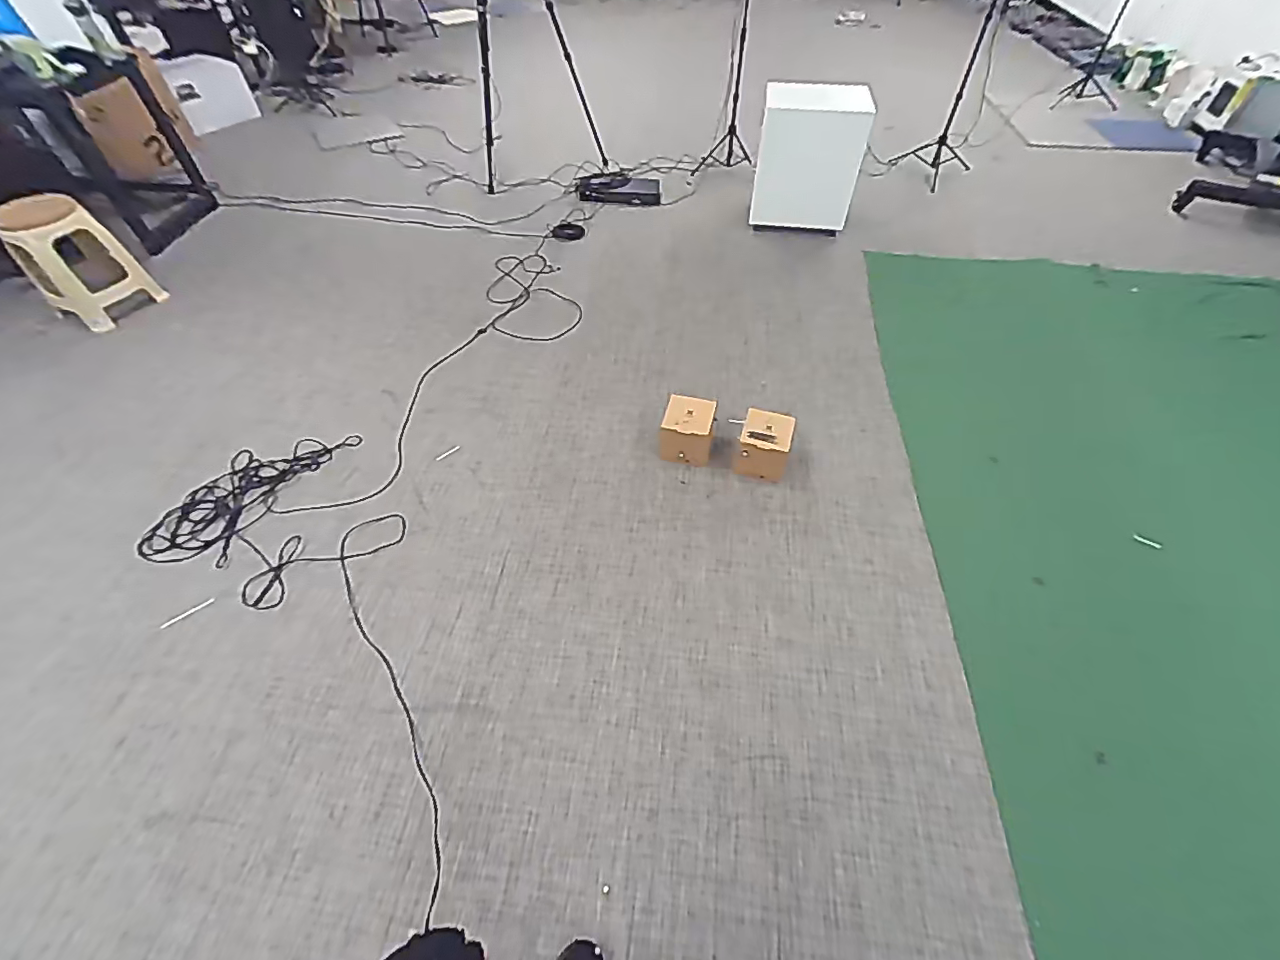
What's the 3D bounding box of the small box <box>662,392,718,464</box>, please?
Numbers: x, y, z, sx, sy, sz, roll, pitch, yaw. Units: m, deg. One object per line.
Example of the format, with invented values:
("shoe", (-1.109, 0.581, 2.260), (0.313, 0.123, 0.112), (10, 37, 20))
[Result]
("small box", (0.175, -0.185, 1.937), (0.168, 0.176, 0.179), (12, 53, 11))
